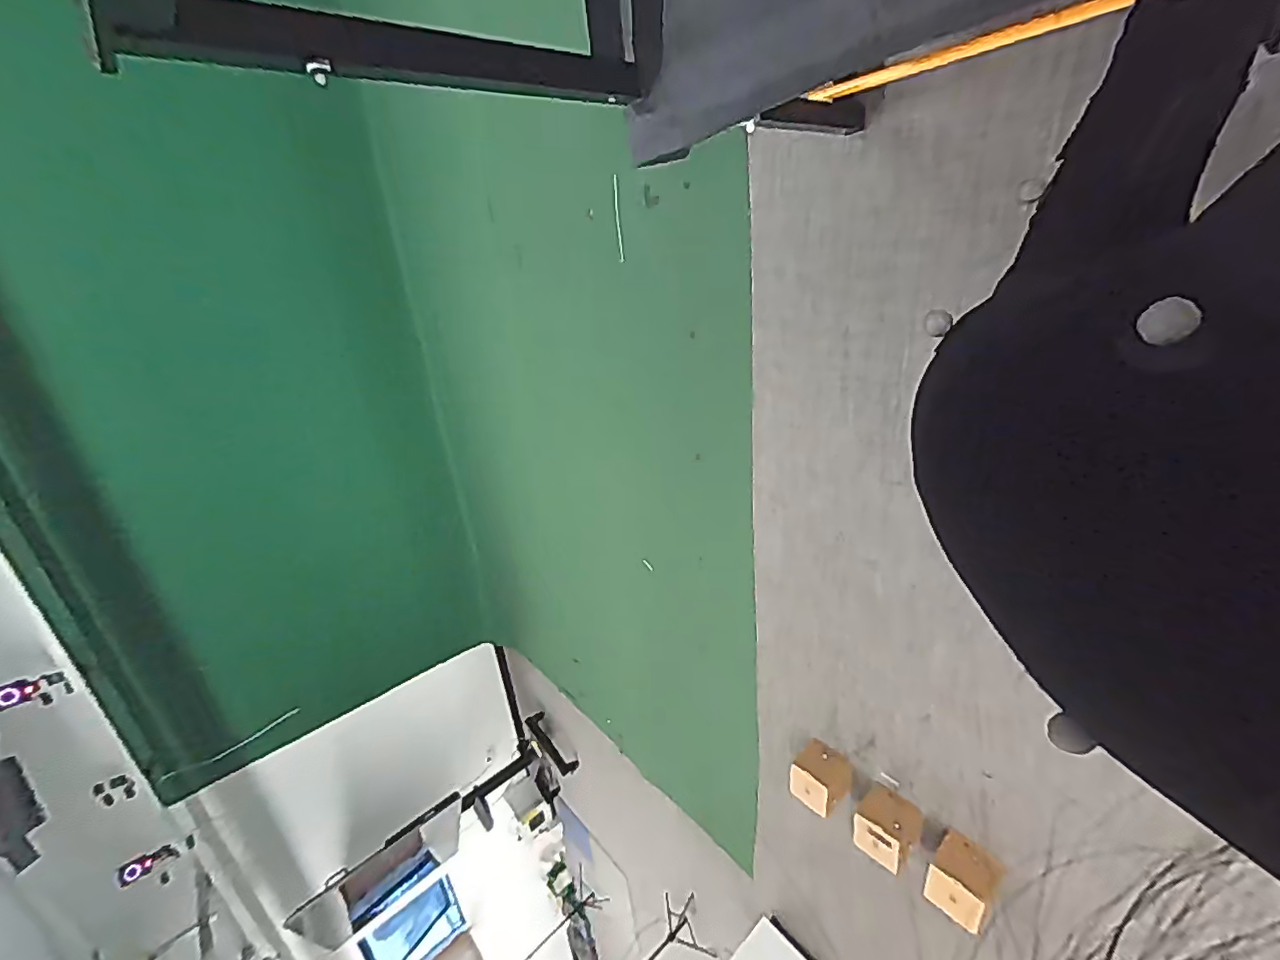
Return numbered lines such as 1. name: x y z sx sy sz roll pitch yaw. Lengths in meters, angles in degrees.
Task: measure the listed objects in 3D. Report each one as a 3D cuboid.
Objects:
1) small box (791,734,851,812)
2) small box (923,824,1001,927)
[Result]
1. small box: 0.729 1.174 2.178 0.168 0.176 0.179 22 124 46
2. small box: 1.069 1.306 1.795 0.168 0.176 0.179 21 124 45
